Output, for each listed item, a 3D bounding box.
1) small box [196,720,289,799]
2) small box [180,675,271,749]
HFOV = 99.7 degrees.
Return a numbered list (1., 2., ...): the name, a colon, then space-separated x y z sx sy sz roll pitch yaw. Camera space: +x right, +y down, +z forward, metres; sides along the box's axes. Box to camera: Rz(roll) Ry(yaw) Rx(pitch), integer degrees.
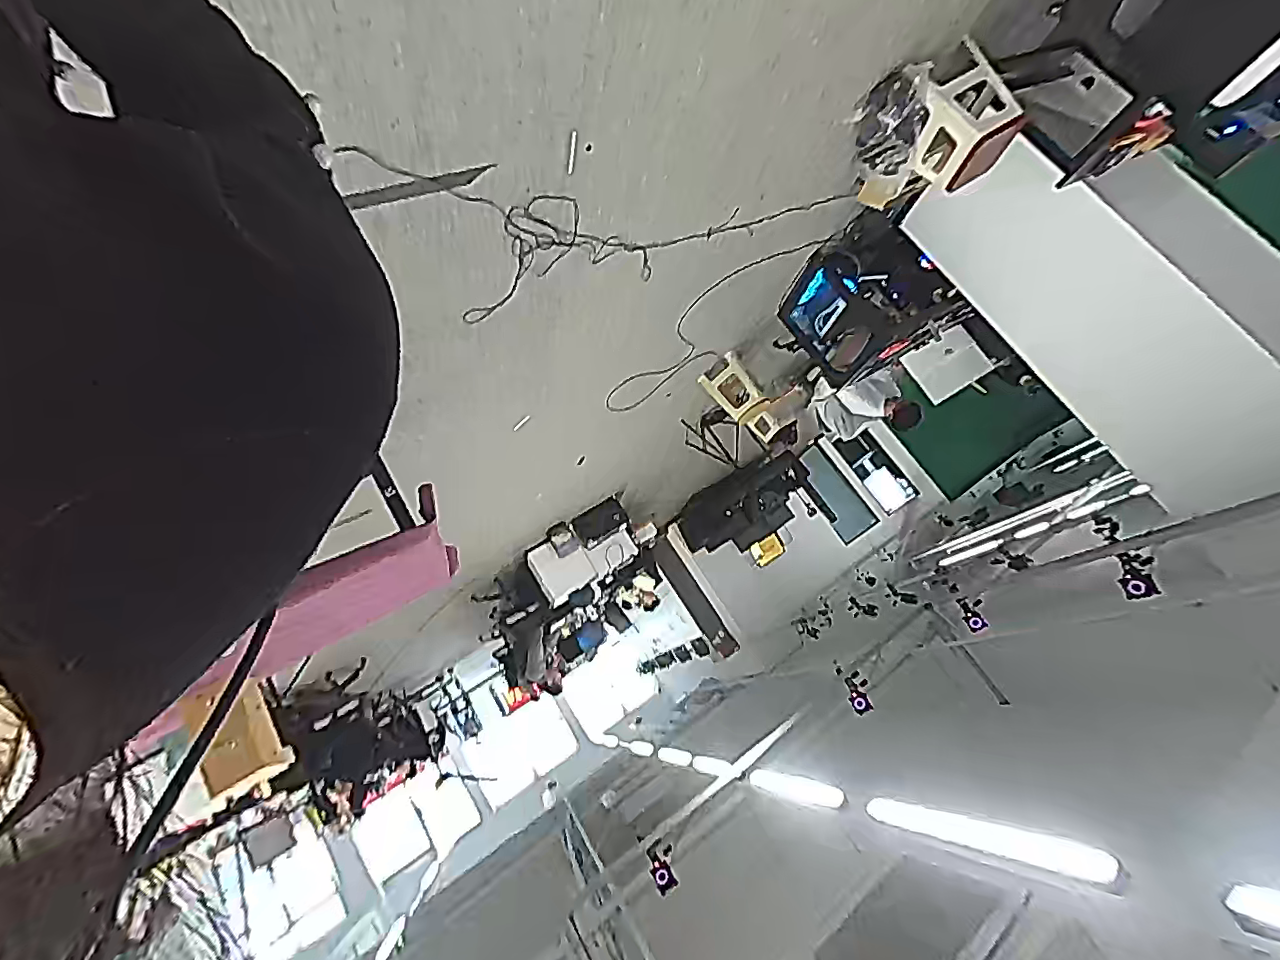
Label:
1. small box: -1.306 0.911 1.781 0.168 0.176 0.179 -30 165 -21
2. small box: -1.389 0.777 1.817 0.168 0.176 0.179 -29 164 -23
